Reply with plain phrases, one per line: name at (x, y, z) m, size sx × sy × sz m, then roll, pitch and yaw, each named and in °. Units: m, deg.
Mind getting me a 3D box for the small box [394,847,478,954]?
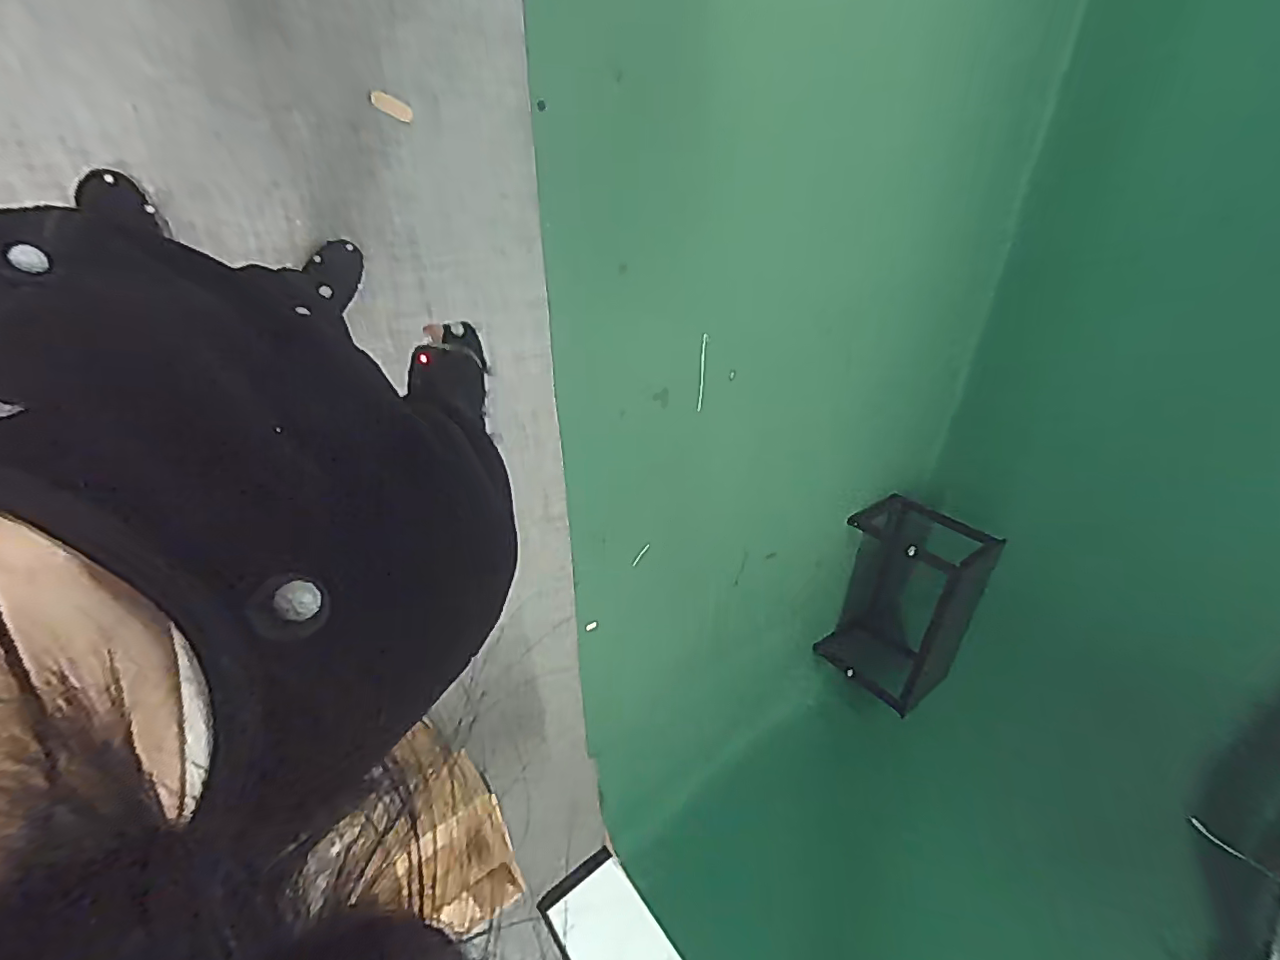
small box at (-0.623, 1.269, 1.648) m, size 0.168 × 0.176 × 0.179 m, roll -27°, pitch 127°, yaw -28°
